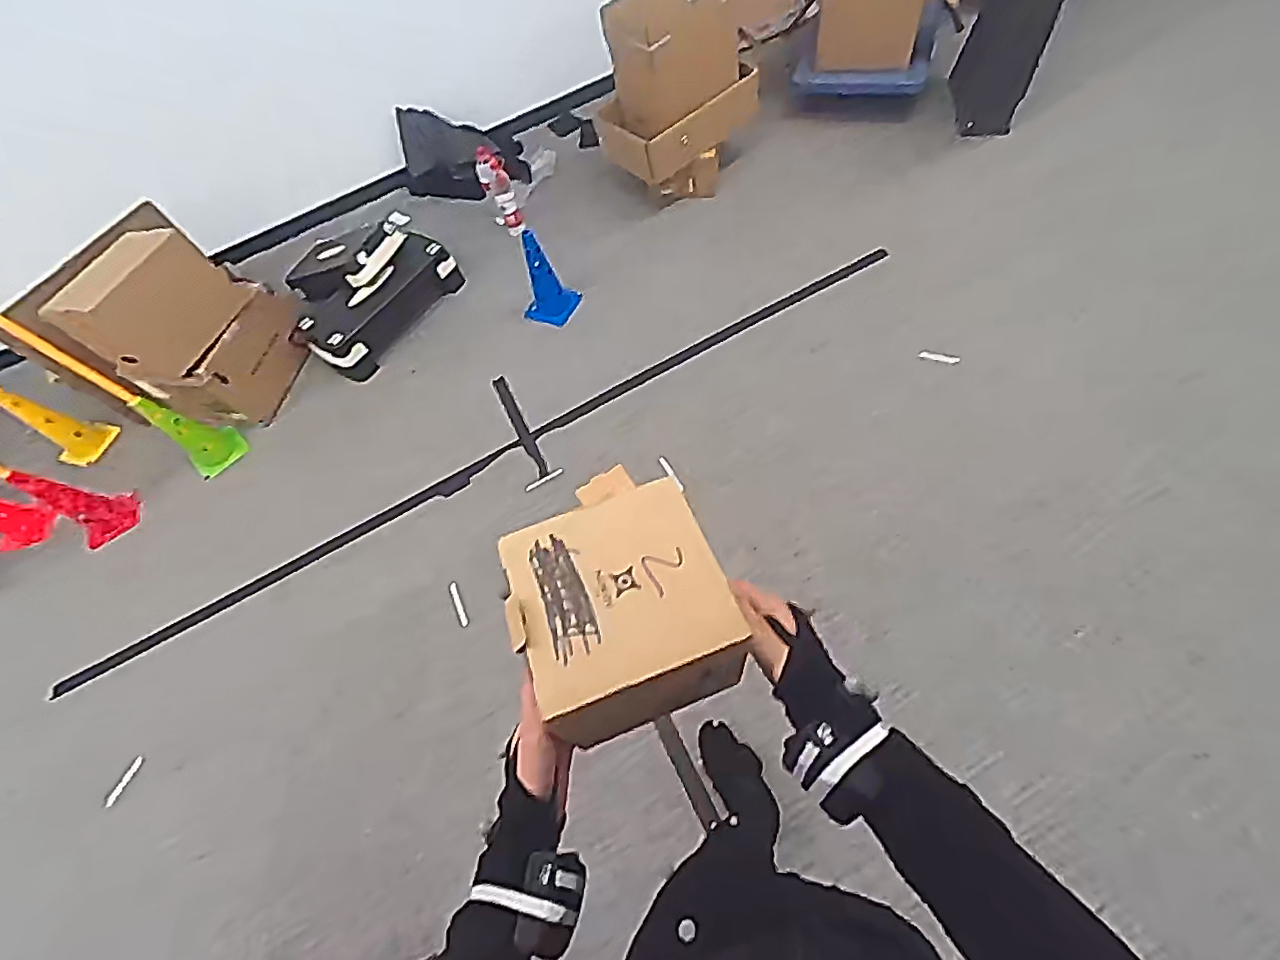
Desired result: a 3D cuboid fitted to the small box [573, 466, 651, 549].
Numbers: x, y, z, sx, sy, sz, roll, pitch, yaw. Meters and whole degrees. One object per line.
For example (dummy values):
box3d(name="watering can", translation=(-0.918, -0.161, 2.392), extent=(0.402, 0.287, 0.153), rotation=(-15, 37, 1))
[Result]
box3d(name="small box", translation=(-0.080, 0.096, 1.688), extent=(0.168, 0.176, 0.179), rotation=(-32, 61, -8))
